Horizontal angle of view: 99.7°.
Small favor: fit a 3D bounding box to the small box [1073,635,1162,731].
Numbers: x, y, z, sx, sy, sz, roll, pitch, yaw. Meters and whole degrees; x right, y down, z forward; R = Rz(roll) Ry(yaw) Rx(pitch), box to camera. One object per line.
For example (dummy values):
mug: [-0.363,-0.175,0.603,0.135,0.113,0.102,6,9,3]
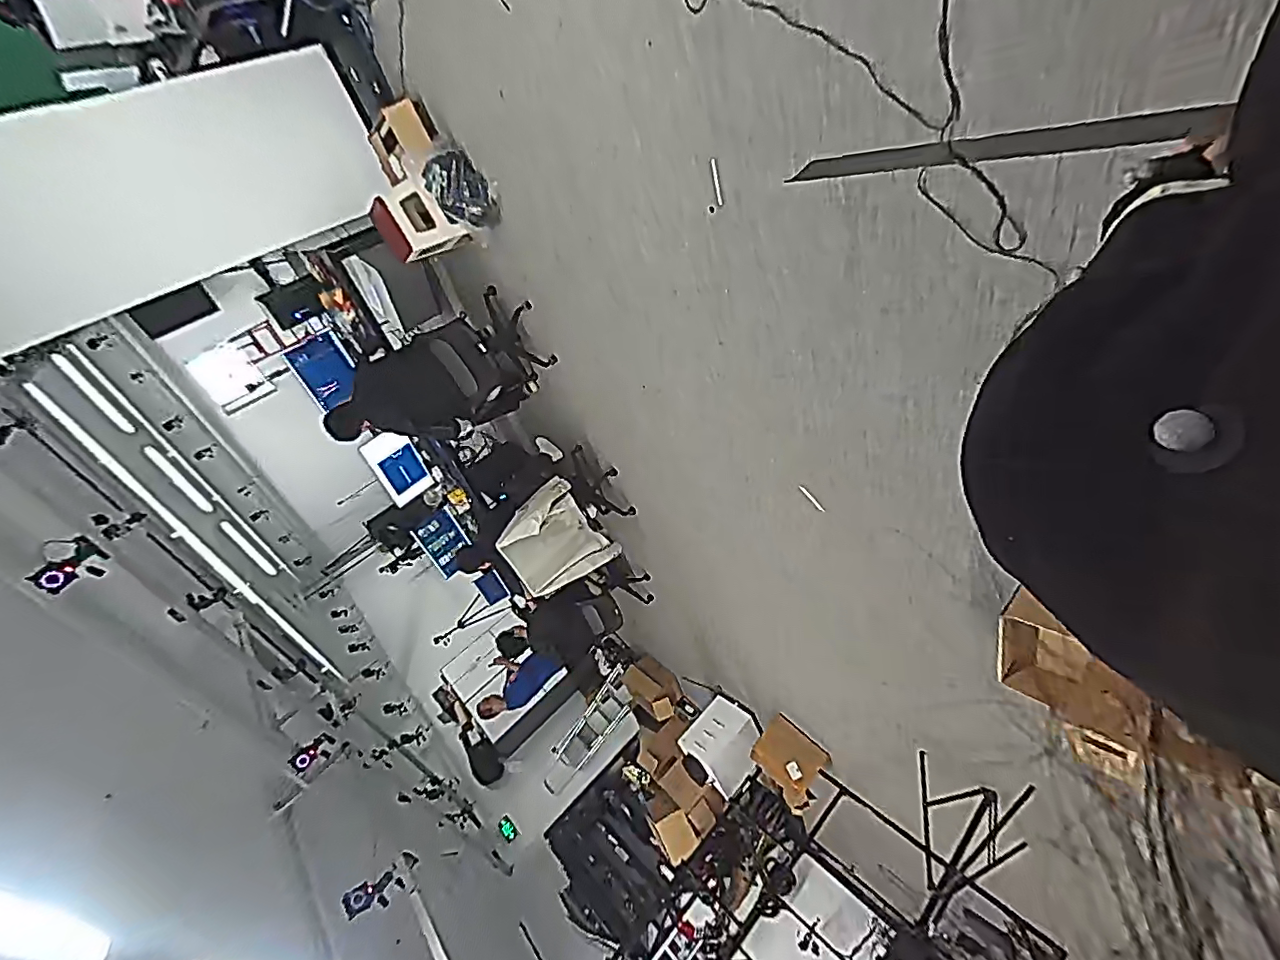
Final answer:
small box: [1.447,0.611,1.641,0.168,0.176,0.179,18,140,49]
